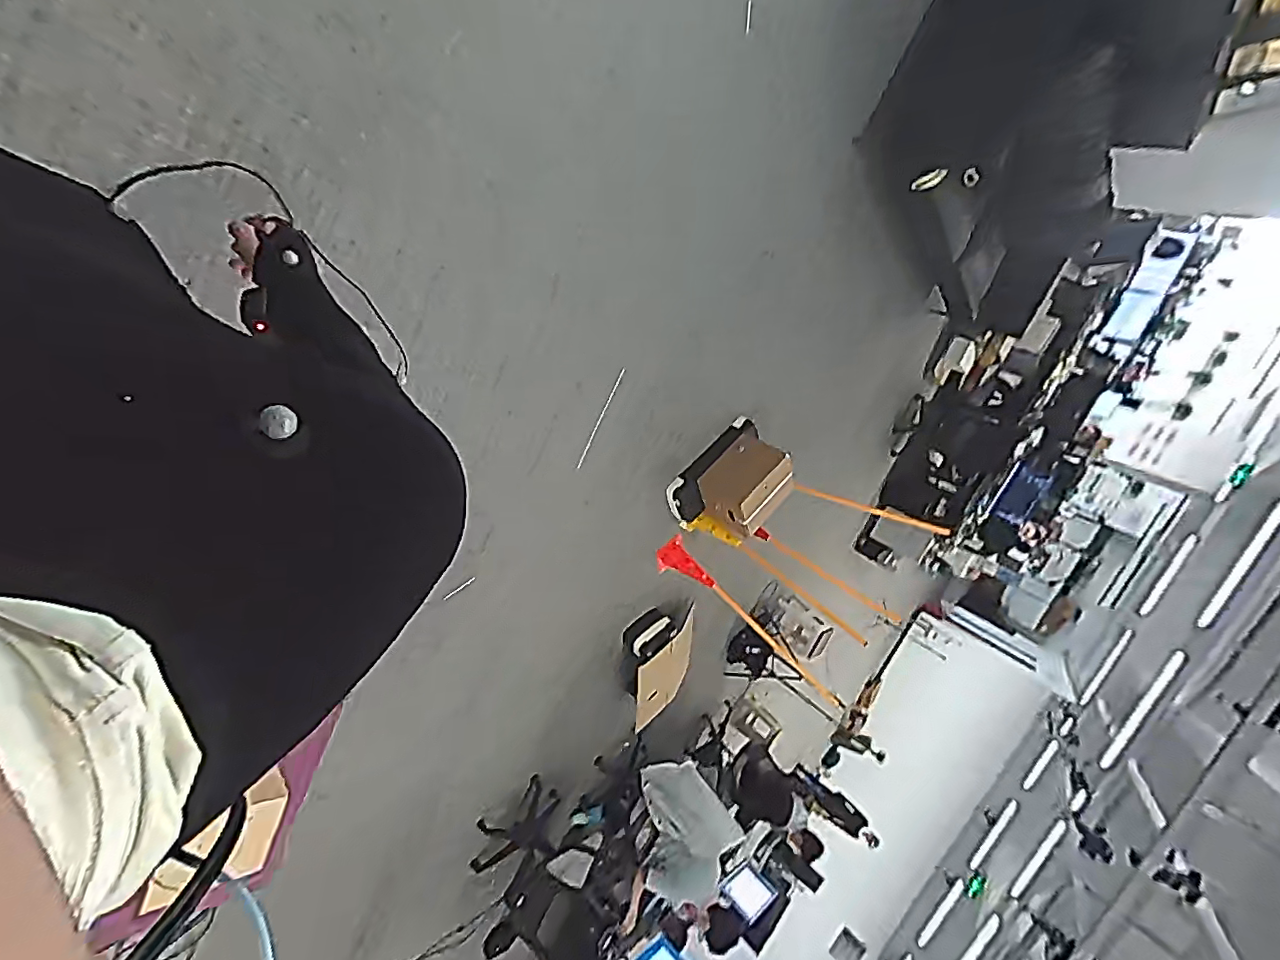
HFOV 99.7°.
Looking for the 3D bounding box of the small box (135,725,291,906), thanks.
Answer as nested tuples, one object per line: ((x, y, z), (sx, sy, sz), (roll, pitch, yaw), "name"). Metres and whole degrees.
((-0.741, 0.563, 0.934), (0.168, 0.176, 0.179), (11, 107, -52), "small box")
